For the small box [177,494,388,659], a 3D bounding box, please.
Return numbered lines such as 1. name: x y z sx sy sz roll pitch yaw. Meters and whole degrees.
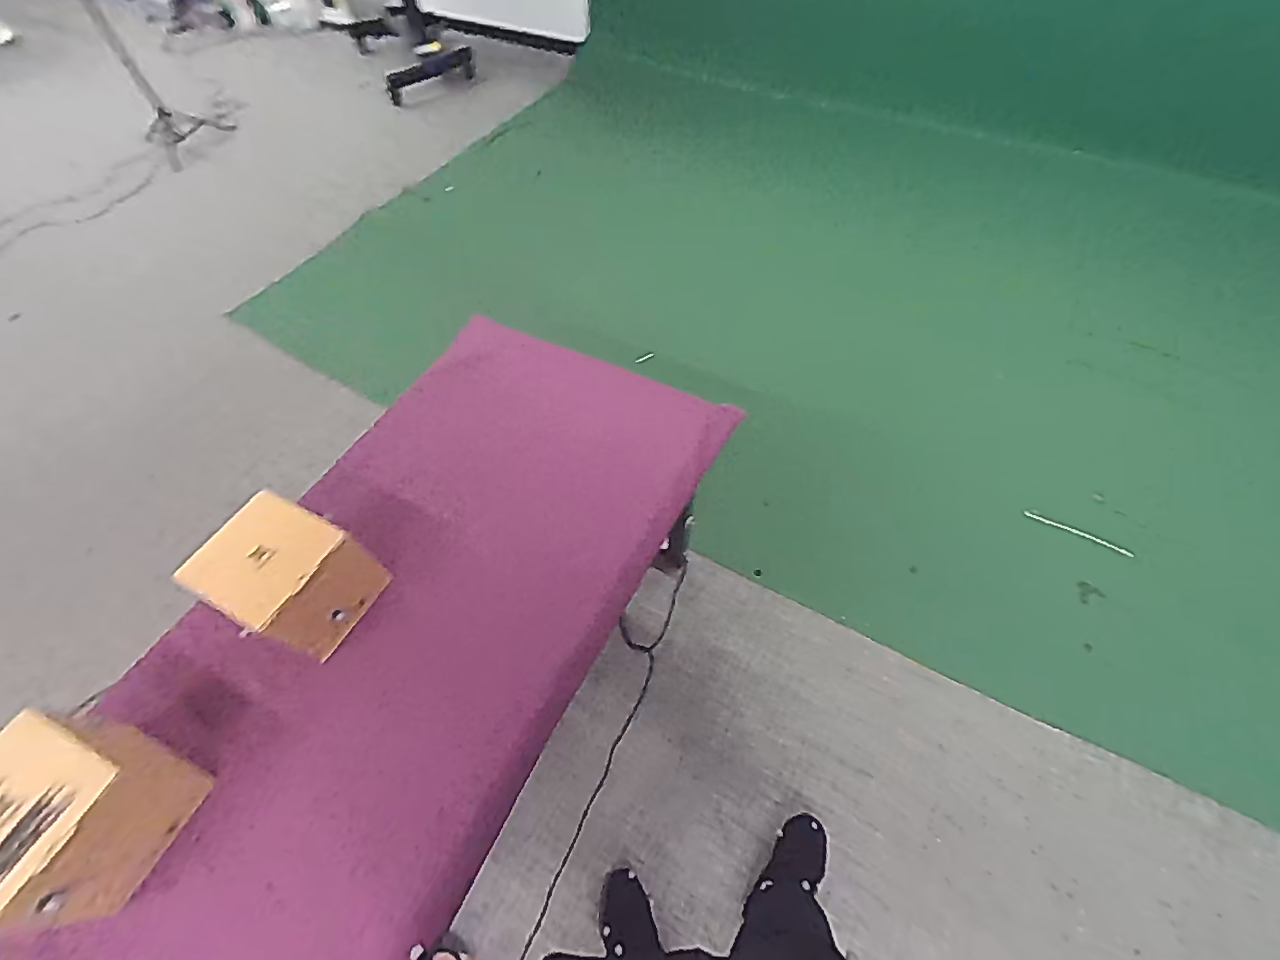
1. small box: -0.539 0.155 0.841 0.179 0.176 0.168 23 61 14
